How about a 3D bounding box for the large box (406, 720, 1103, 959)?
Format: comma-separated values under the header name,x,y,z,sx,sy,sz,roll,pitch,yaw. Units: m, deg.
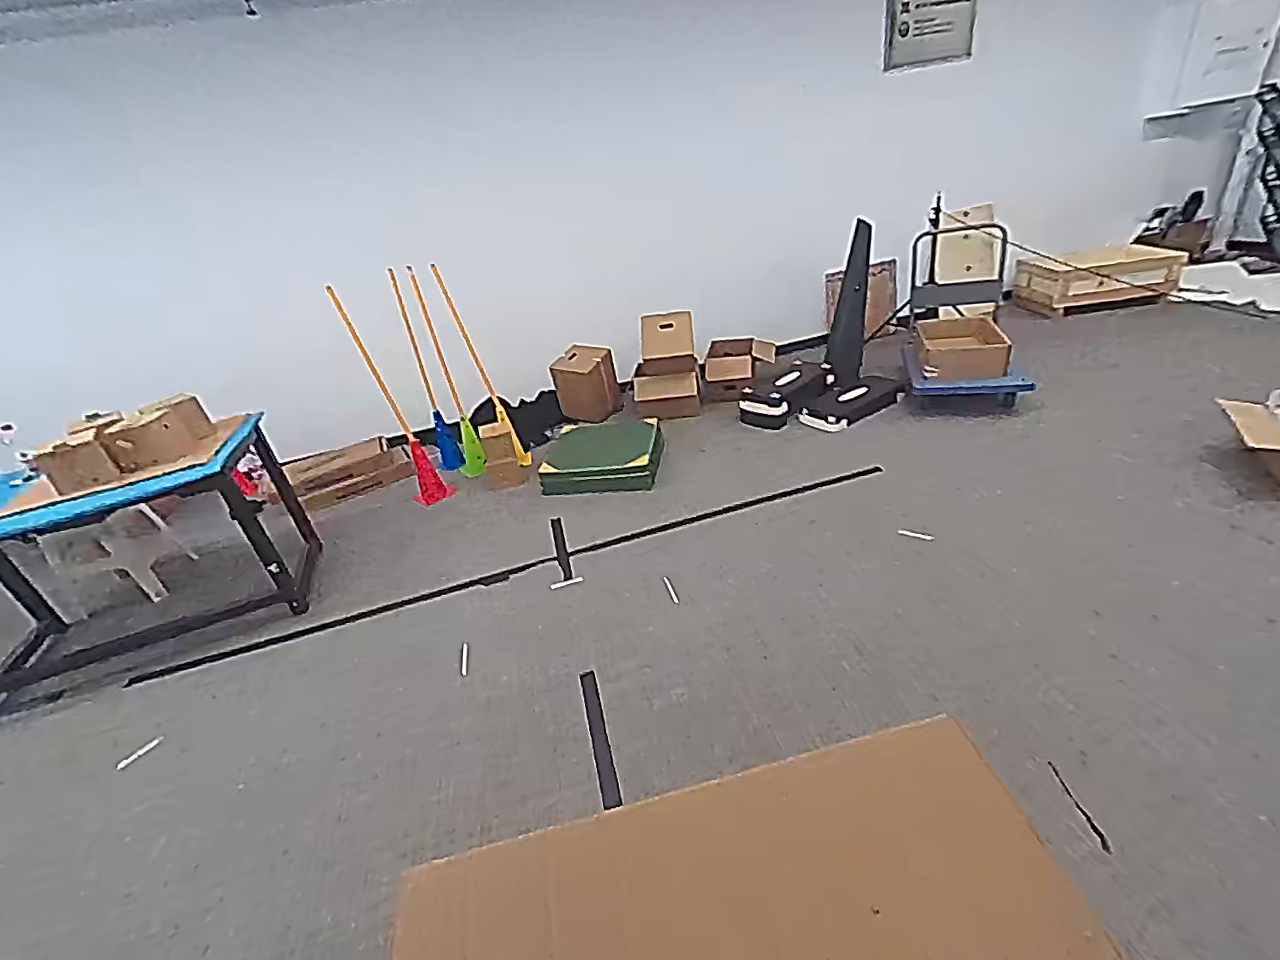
name,x,y,z,sx,sy,sz,roll,pitch,yaw
large box,0.089,0.432,0.367,0.408,0.320,0.320,-14,38,-4
